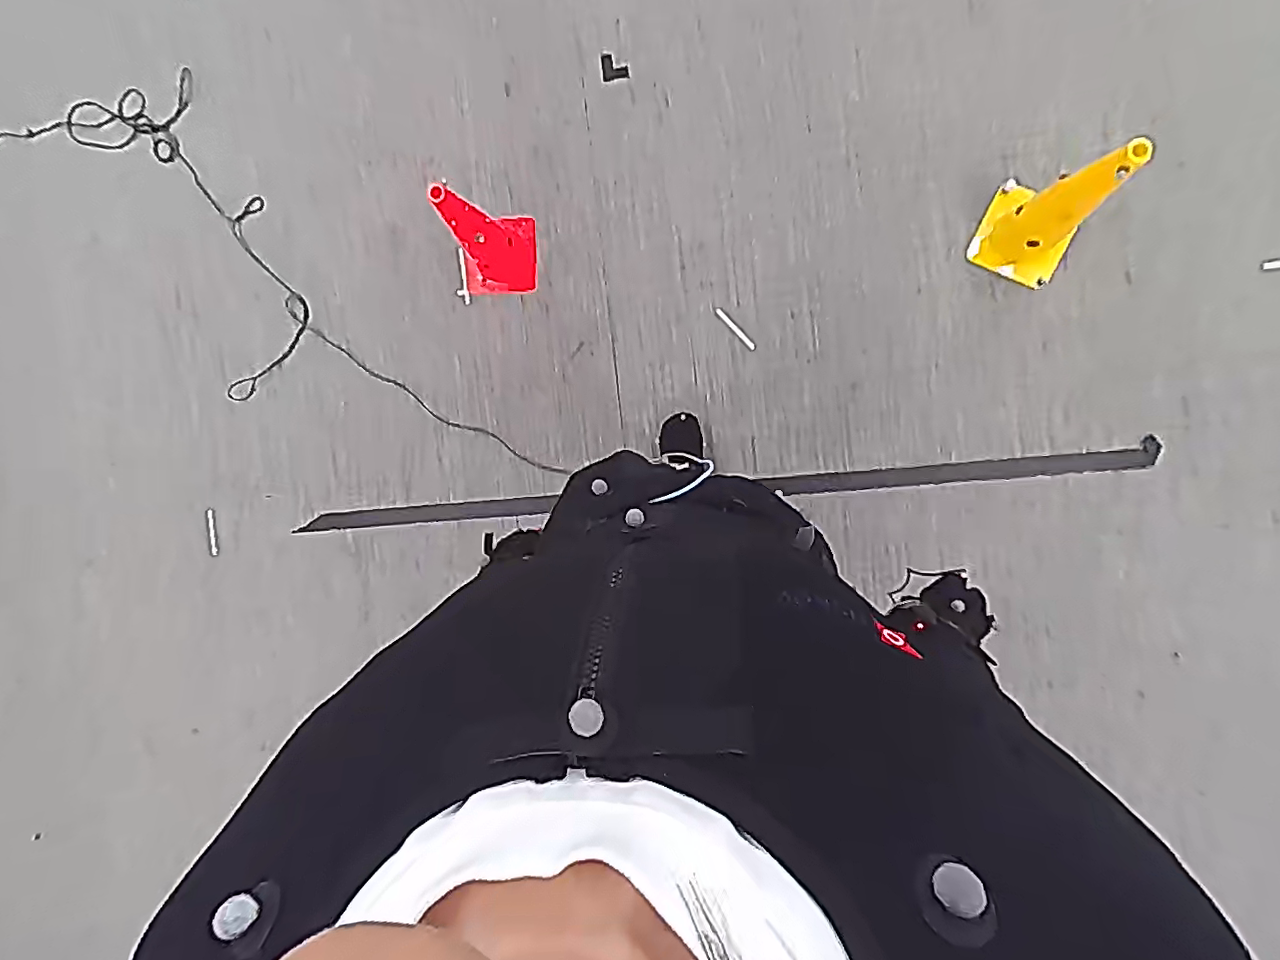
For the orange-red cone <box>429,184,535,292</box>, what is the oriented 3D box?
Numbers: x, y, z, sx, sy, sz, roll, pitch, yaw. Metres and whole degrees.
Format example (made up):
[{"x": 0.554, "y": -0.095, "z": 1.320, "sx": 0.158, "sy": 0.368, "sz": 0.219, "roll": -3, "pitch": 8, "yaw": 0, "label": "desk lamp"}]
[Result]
[{"x": -0.396, "y": -0.599, "z": 1.284, "sx": 0.199, "sy": 0.360, "sz": 0.198, "roll": 2, "pitch": 93, "yaw": 6, "label": "orange-red cone"}]
